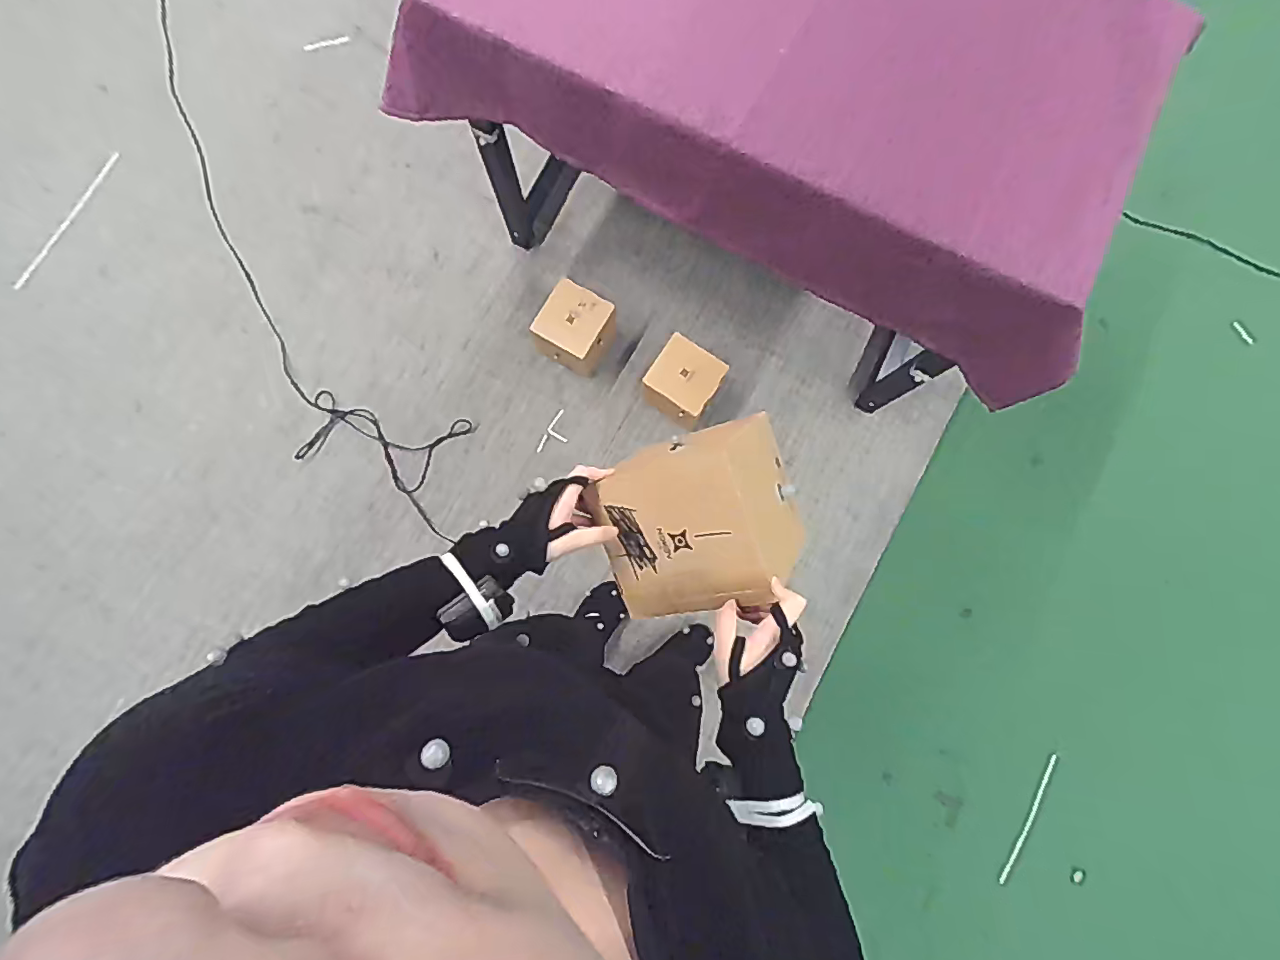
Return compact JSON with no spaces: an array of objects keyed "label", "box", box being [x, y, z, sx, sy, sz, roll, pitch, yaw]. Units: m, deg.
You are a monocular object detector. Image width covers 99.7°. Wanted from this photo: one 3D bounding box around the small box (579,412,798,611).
[{"label":"small box","box":[0.065,0.032,0.630,0.179,0.176,0.168,-16,100,30]}]
